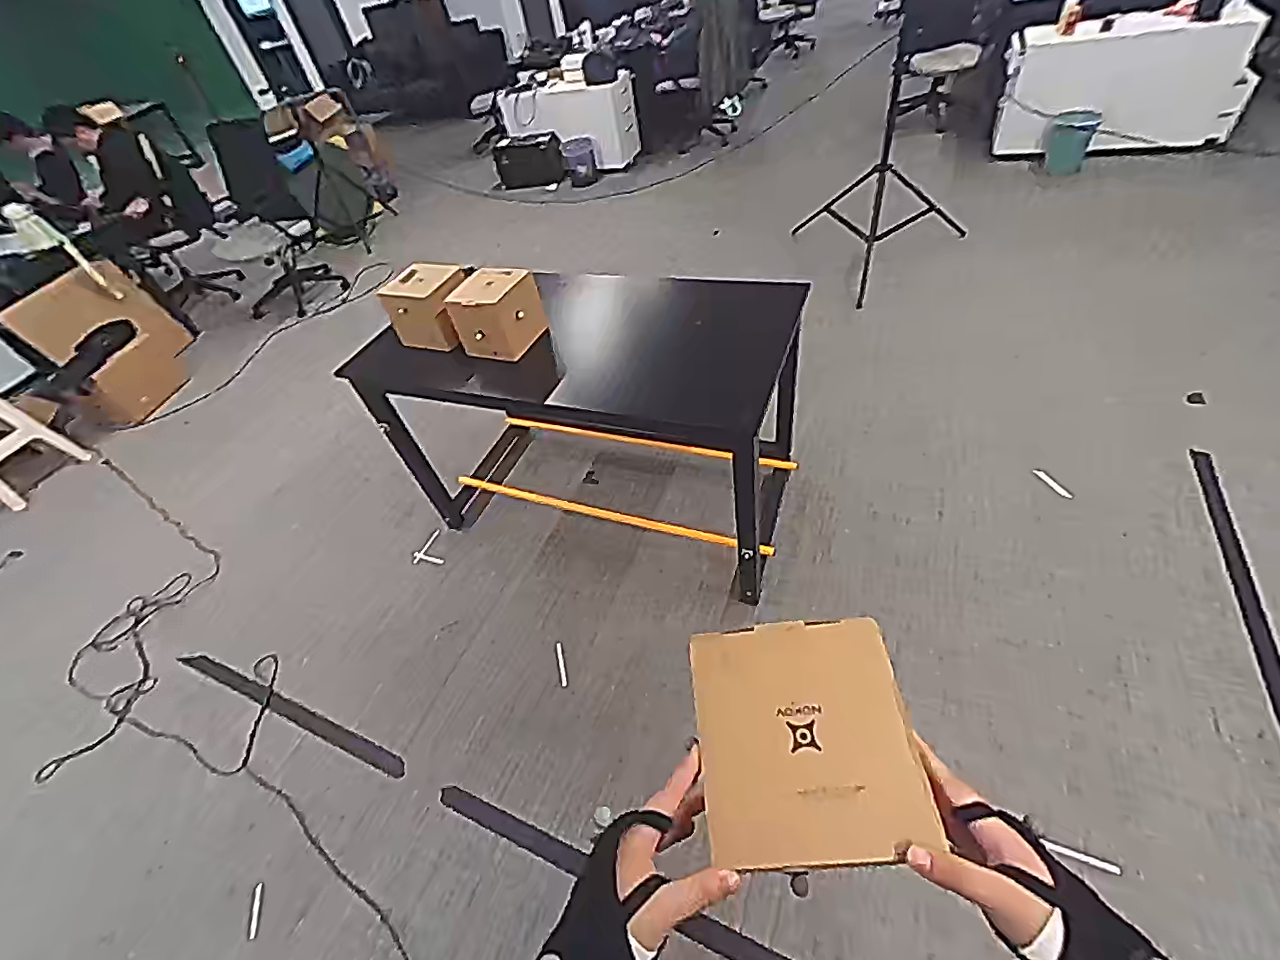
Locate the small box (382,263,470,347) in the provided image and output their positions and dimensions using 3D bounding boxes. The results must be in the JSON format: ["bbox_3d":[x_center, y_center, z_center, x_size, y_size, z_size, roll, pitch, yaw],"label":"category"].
[{"bbox_3d":[-0.579,-0.495,1.530,0.179,0.176,0.168,12,52,21],"label":"small box"}]

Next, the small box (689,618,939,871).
[{"bbox_3d":[0.136,0.247,0.497,0.168,0.176,0.179,-7,53,5],"label":"small box"}]

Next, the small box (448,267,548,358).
[{"bbox_3d":[-0.369,-0.446,1.443,0.168,0.176,0.179,12,52,22],"label":"small box"}]
